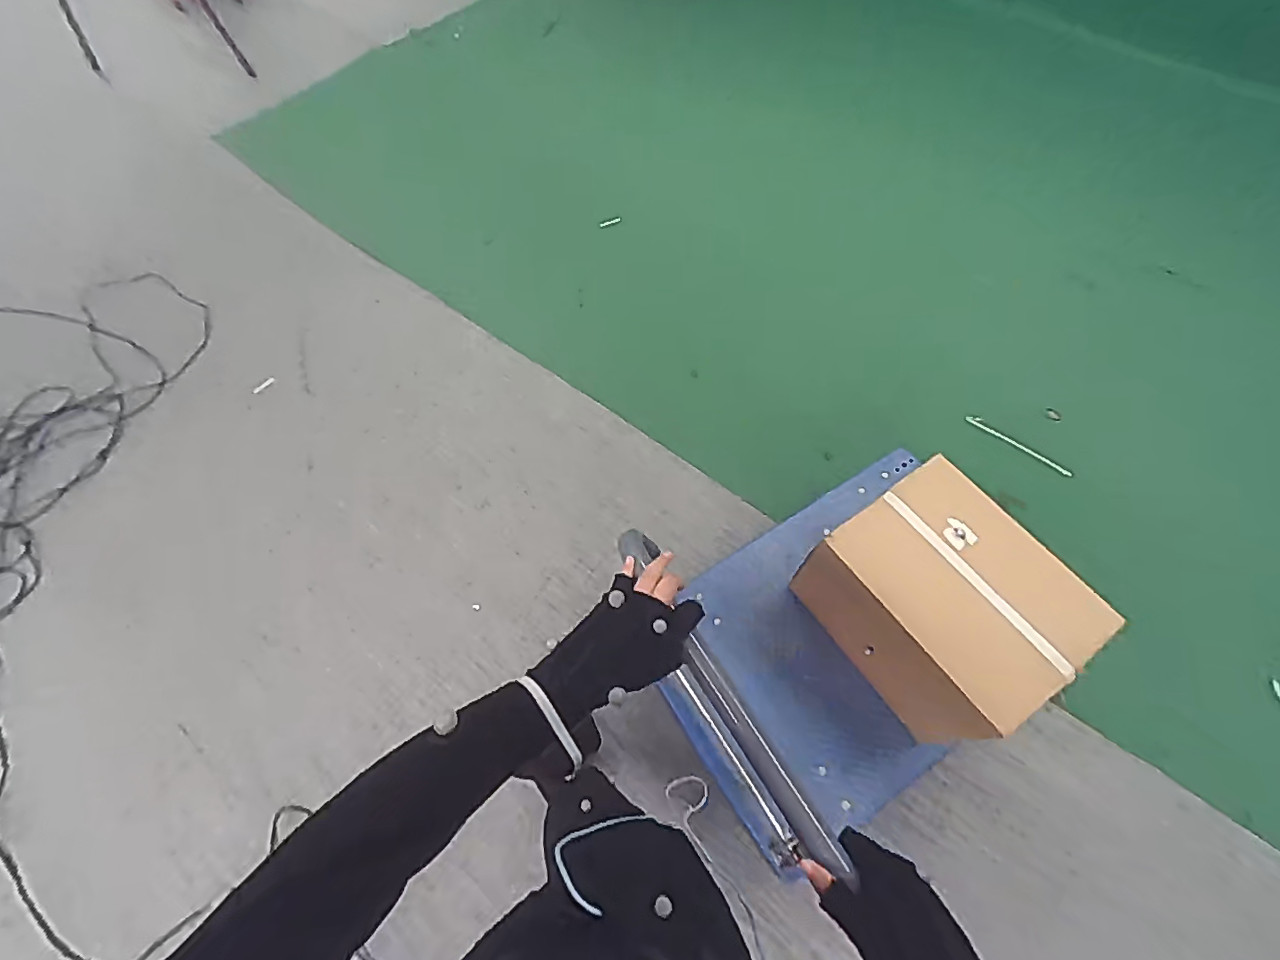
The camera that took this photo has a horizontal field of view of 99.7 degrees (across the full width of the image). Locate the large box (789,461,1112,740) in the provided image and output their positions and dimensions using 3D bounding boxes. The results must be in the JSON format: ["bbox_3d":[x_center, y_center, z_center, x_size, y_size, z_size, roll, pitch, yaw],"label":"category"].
[{"bbox_3d":[0.574,0.247,1.089,0.320,0.320,0.408,-32,65,-15],"label":"large box"}]
